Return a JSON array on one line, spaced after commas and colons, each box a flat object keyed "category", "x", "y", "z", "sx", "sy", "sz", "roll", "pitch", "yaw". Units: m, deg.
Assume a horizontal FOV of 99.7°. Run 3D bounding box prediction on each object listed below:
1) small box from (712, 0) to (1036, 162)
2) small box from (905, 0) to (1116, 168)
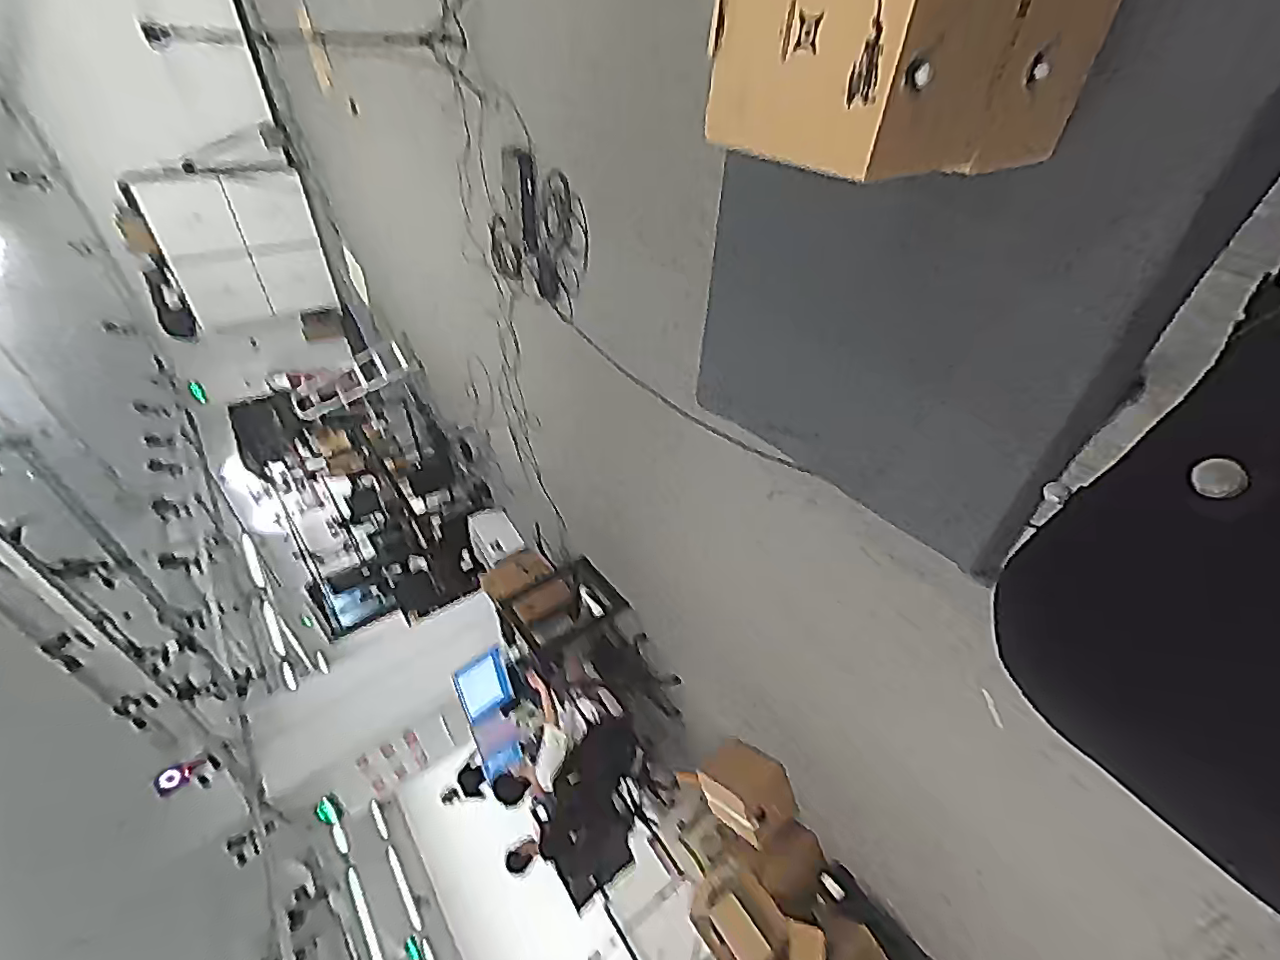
[{"category": "small box", "x": 0.186, "y": -0.367, "z": 0.441, "sx": 0.179, "sy": 0.176, "sz": 0.168, "roll": 39, "pitch": 140, "yaw": 38}, {"category": "small box", "x": 0.316, "y": -0.419, "z": 0.520, "sx": 0.168, "sy": 0.176, "sz": 0.179, "roll": 41, "pitch": 143, "yaw": 37}]
